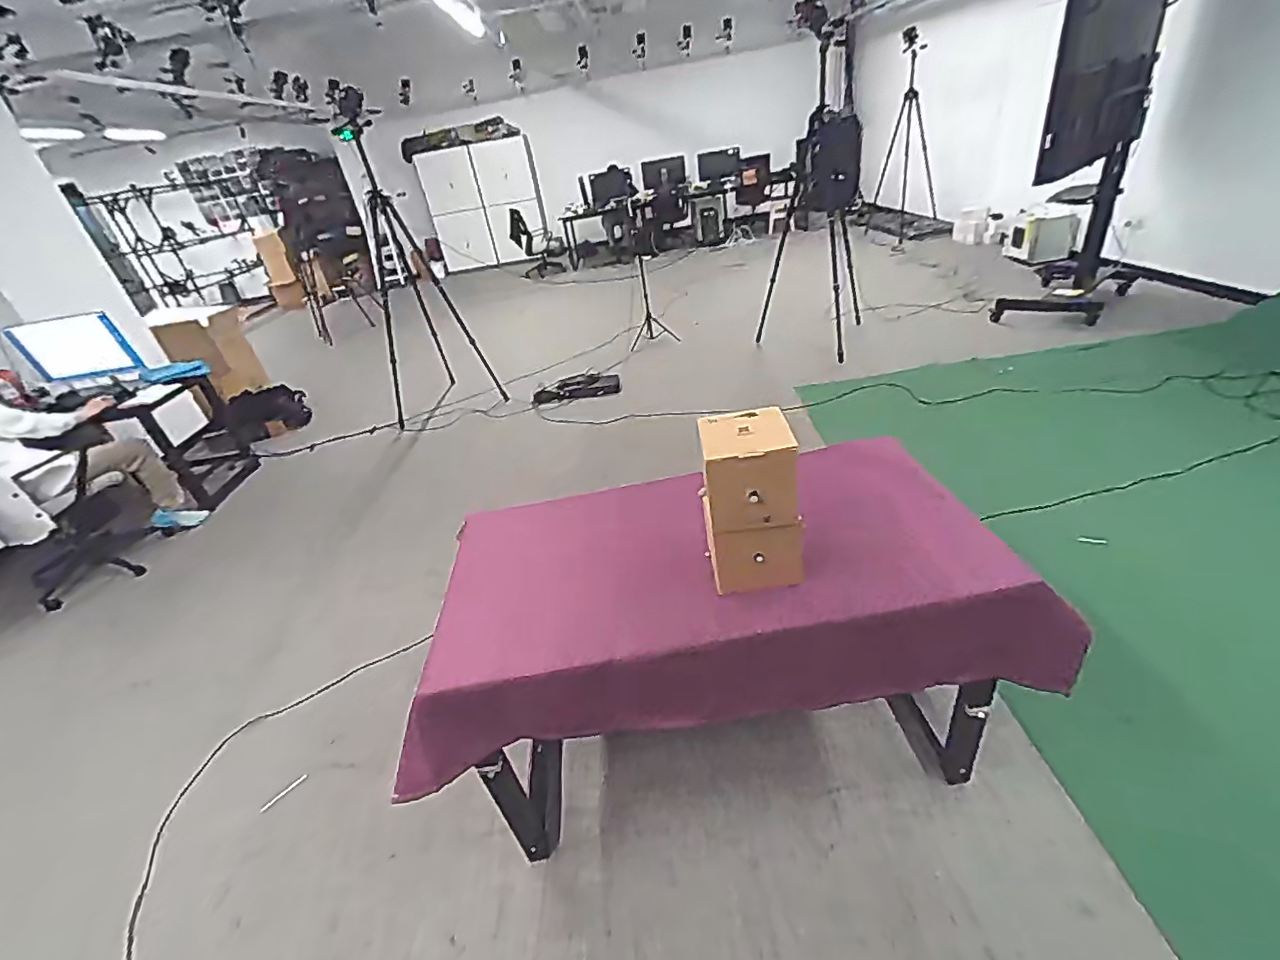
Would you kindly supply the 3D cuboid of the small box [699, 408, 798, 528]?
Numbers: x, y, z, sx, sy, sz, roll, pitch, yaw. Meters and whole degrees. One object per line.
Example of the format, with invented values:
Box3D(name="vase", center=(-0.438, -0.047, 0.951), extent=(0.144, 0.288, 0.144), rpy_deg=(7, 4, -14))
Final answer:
Box3D(name="small box", center=(0.209, -0.018, 1.052), extent=(0.168, 0.176, 0.179), rpy_deg=(-7, 33, 6))
